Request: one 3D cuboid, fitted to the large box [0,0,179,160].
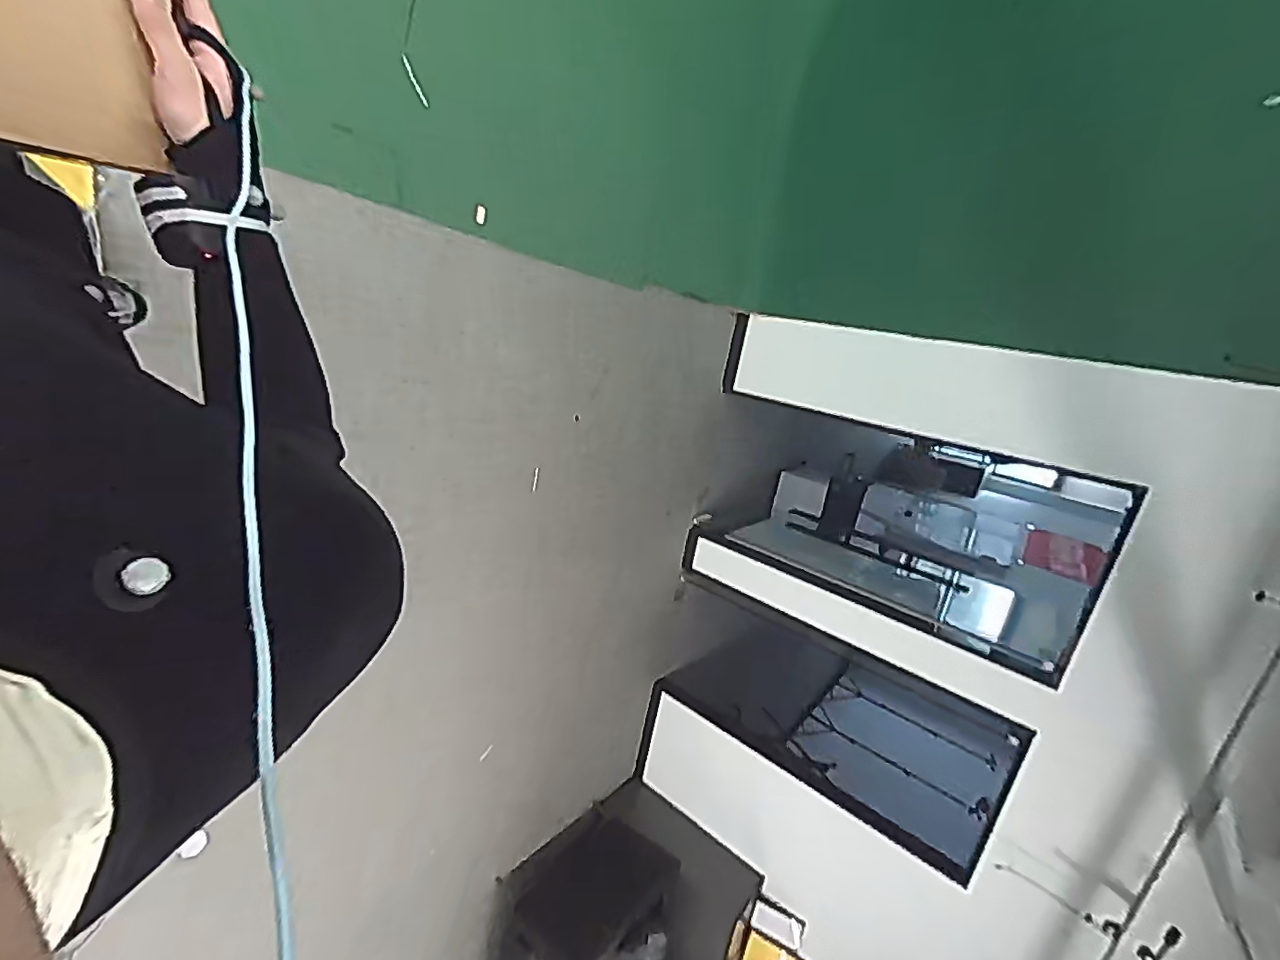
[{"bbox_3d":[-0.598,-0.427,0.334,0.408,0.320,0.320,-13,121,-51],"label":"large box"}]
